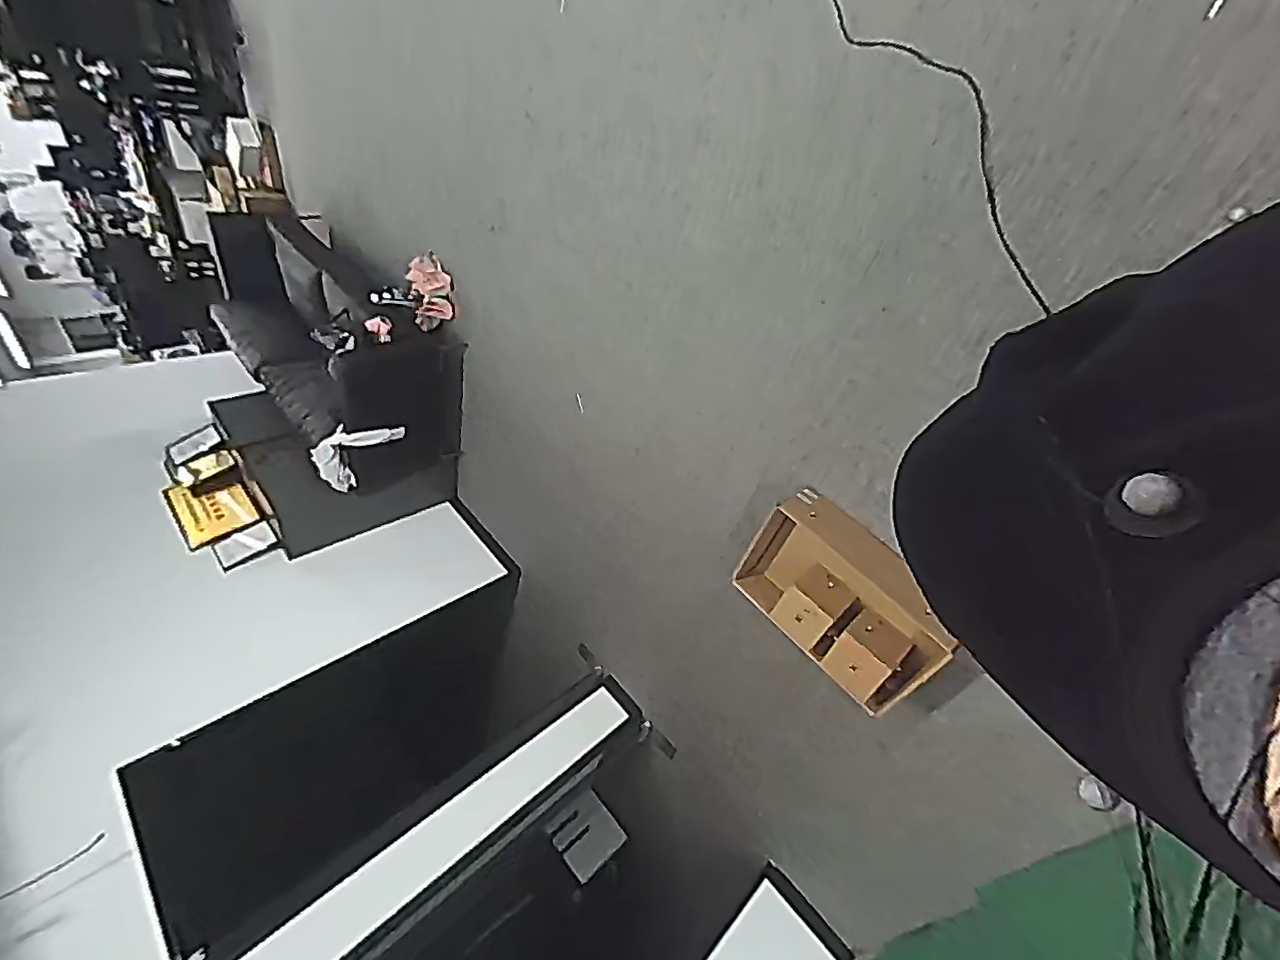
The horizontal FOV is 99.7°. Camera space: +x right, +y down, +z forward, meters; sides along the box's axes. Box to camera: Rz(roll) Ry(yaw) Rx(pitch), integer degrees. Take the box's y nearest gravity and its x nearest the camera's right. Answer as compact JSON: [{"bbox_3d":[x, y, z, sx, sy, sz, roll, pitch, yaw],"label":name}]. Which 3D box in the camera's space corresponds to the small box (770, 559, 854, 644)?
[{"bbox_3d":[0.564,0.393,1.766,0.168,0.176,0.179,43,135,24],"label":"small box"}]
